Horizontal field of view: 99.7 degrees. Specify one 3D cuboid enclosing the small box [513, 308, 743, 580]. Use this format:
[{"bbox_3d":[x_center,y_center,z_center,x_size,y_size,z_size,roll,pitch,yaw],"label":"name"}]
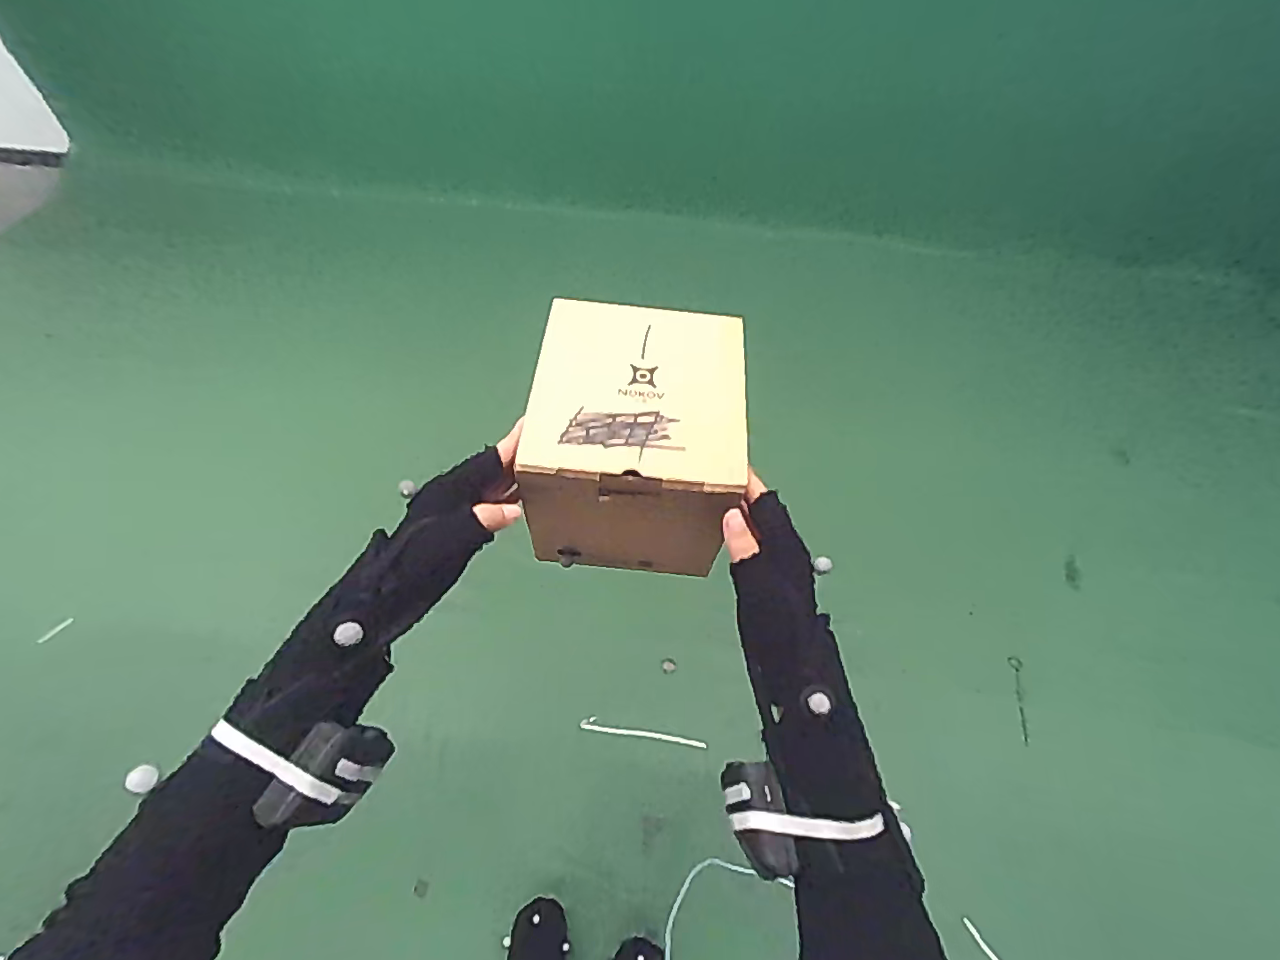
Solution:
[{"bbox_3d":[-0.005,-0.025,0.486,0.168,0.176,0.179,6,56,-1],"label":"small box"}]
